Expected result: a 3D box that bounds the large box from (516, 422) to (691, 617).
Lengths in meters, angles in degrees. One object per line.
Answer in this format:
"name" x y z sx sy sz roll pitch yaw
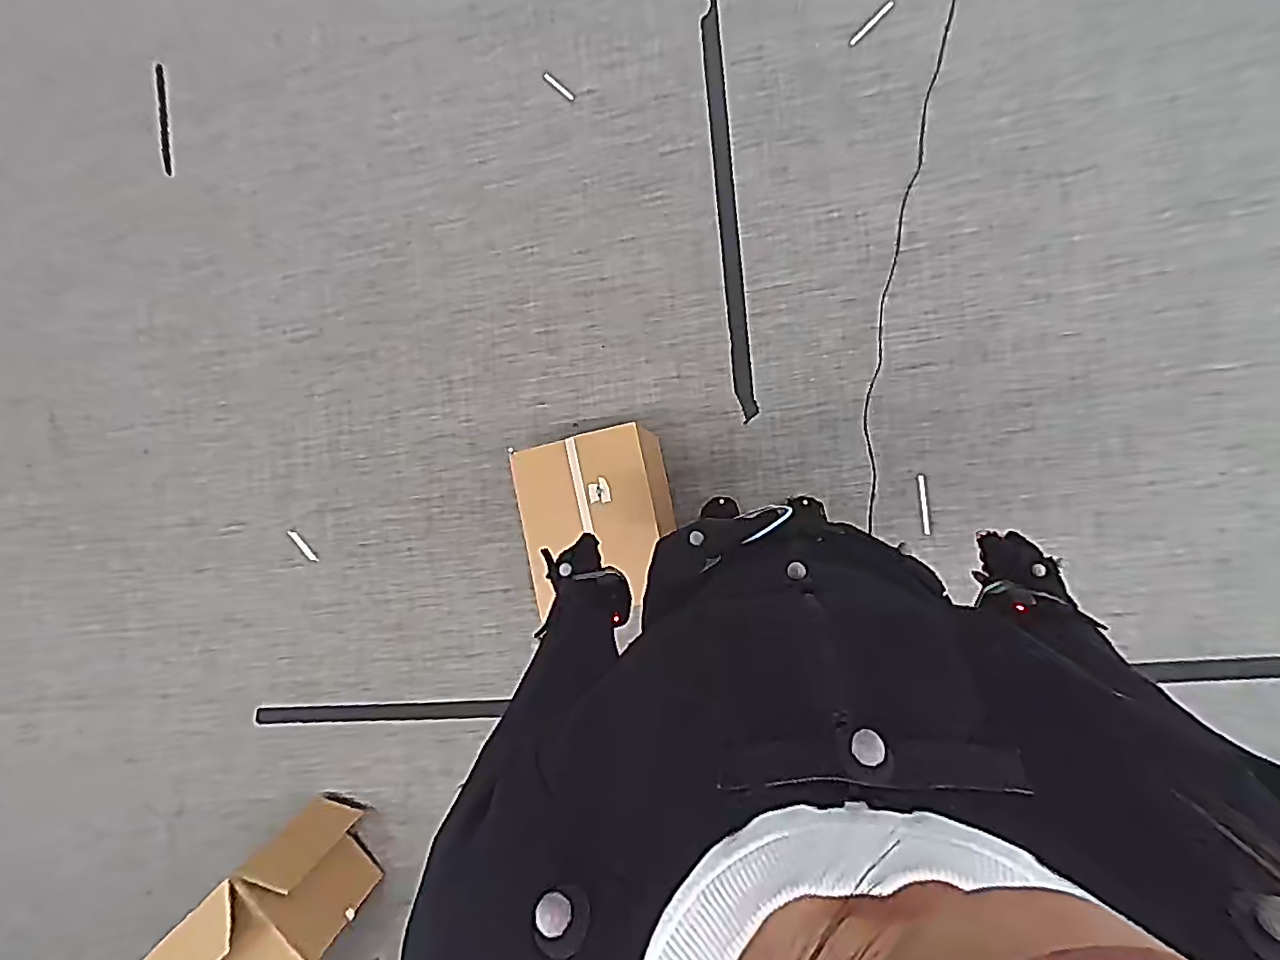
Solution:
"large box" -0.077 0.100 1.380 0.320 0.320 0.408 -13 85 10
